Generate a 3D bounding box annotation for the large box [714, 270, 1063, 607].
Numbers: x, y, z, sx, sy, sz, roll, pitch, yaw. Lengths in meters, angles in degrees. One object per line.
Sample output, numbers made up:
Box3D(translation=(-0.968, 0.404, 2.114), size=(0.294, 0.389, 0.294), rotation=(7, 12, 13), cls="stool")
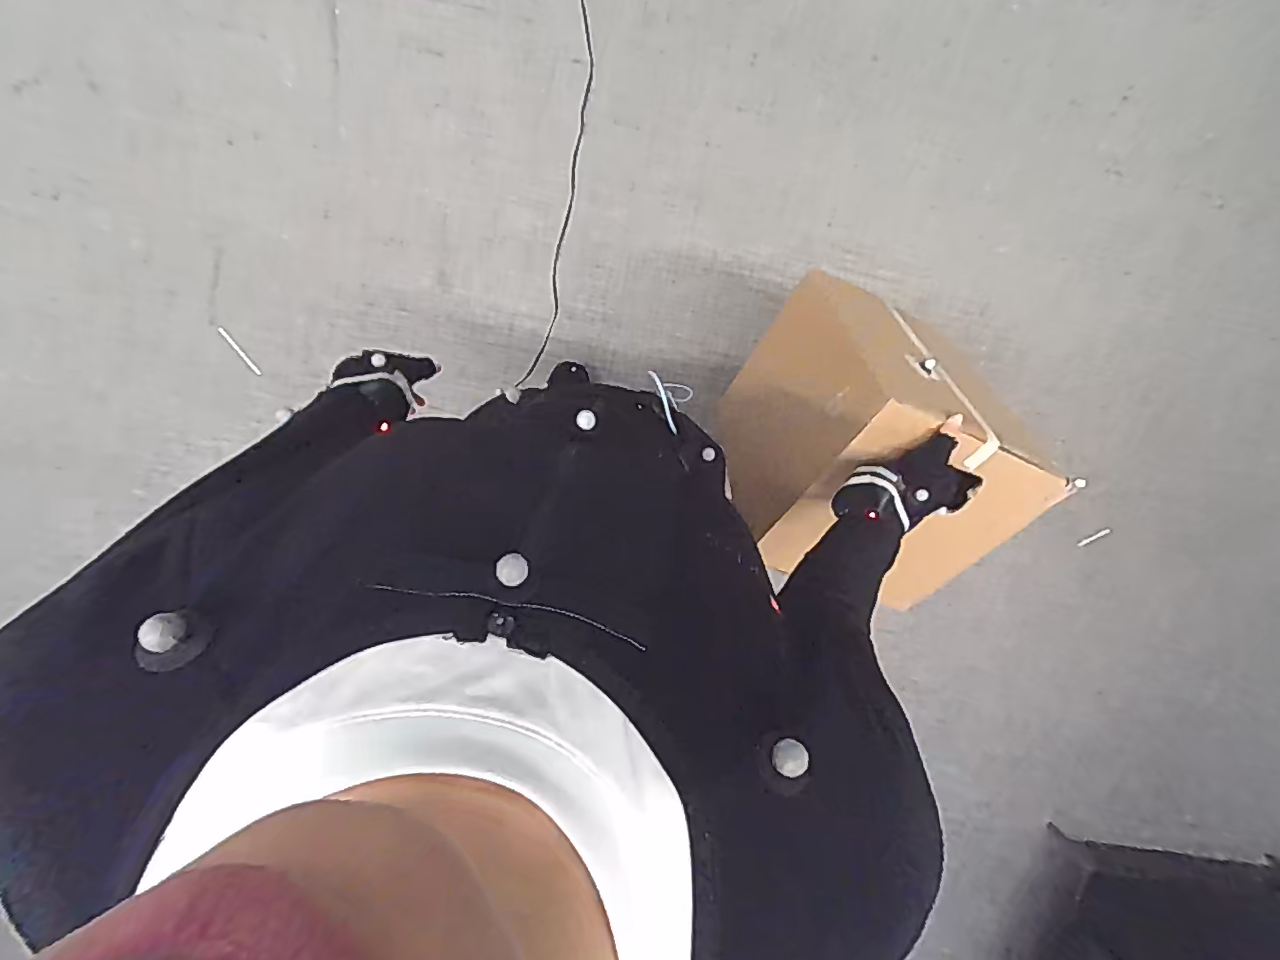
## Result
Box3D(translation=(0.348, -0.069, 0.890), size=(0.320, 0.408, 0.320), rotation=(19, 130, -17), cls="large box")
